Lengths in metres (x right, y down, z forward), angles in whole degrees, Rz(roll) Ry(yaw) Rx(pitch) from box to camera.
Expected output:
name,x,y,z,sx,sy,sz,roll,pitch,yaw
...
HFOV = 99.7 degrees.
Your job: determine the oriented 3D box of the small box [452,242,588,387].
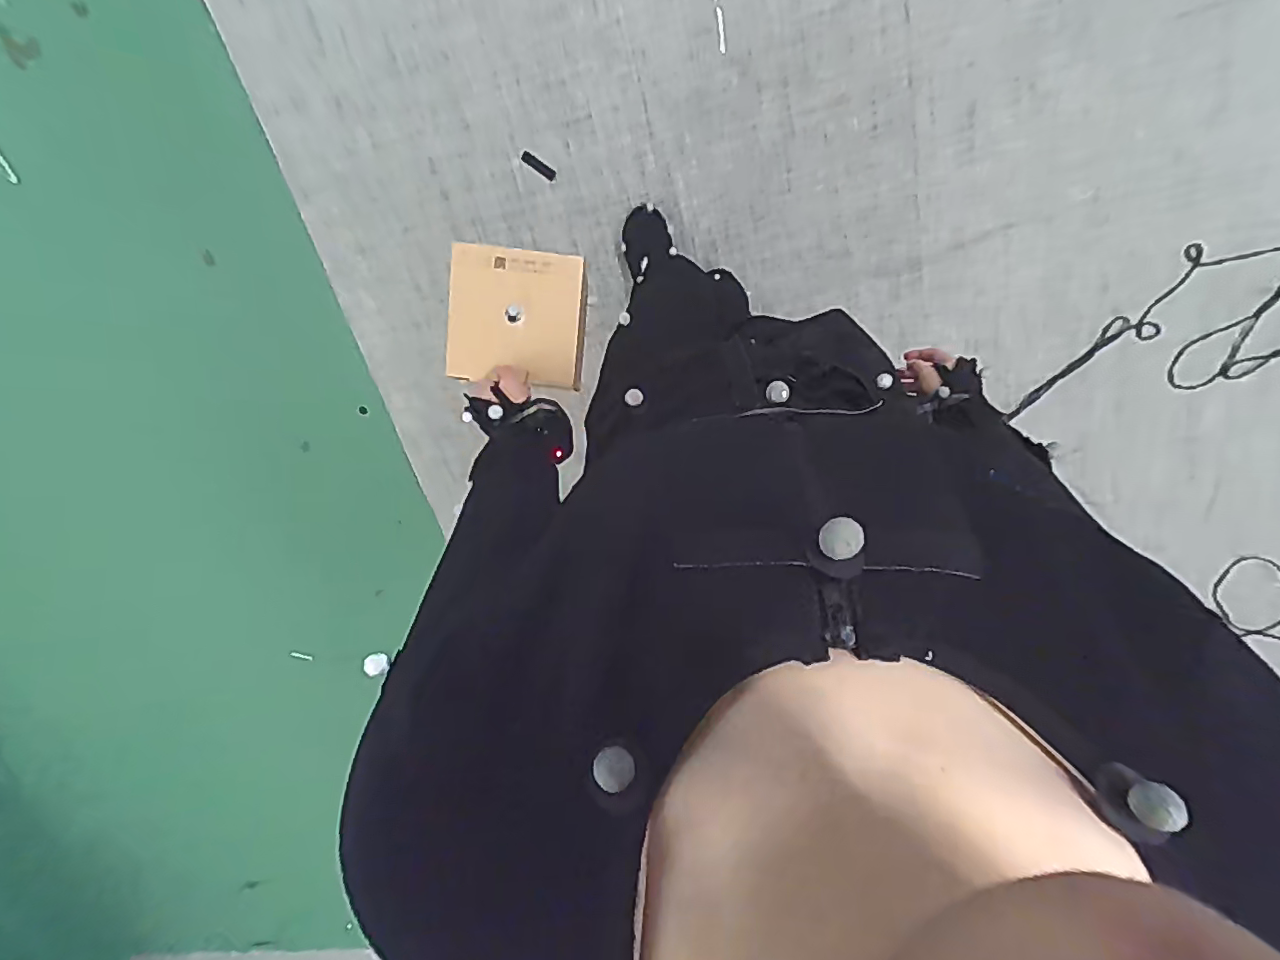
name,x,y,z,sx,sy,sz,roll,pitch,yaw
small box,-0.163,-0.225,0.765,0.168,0.179,0.176,4,99,-5
